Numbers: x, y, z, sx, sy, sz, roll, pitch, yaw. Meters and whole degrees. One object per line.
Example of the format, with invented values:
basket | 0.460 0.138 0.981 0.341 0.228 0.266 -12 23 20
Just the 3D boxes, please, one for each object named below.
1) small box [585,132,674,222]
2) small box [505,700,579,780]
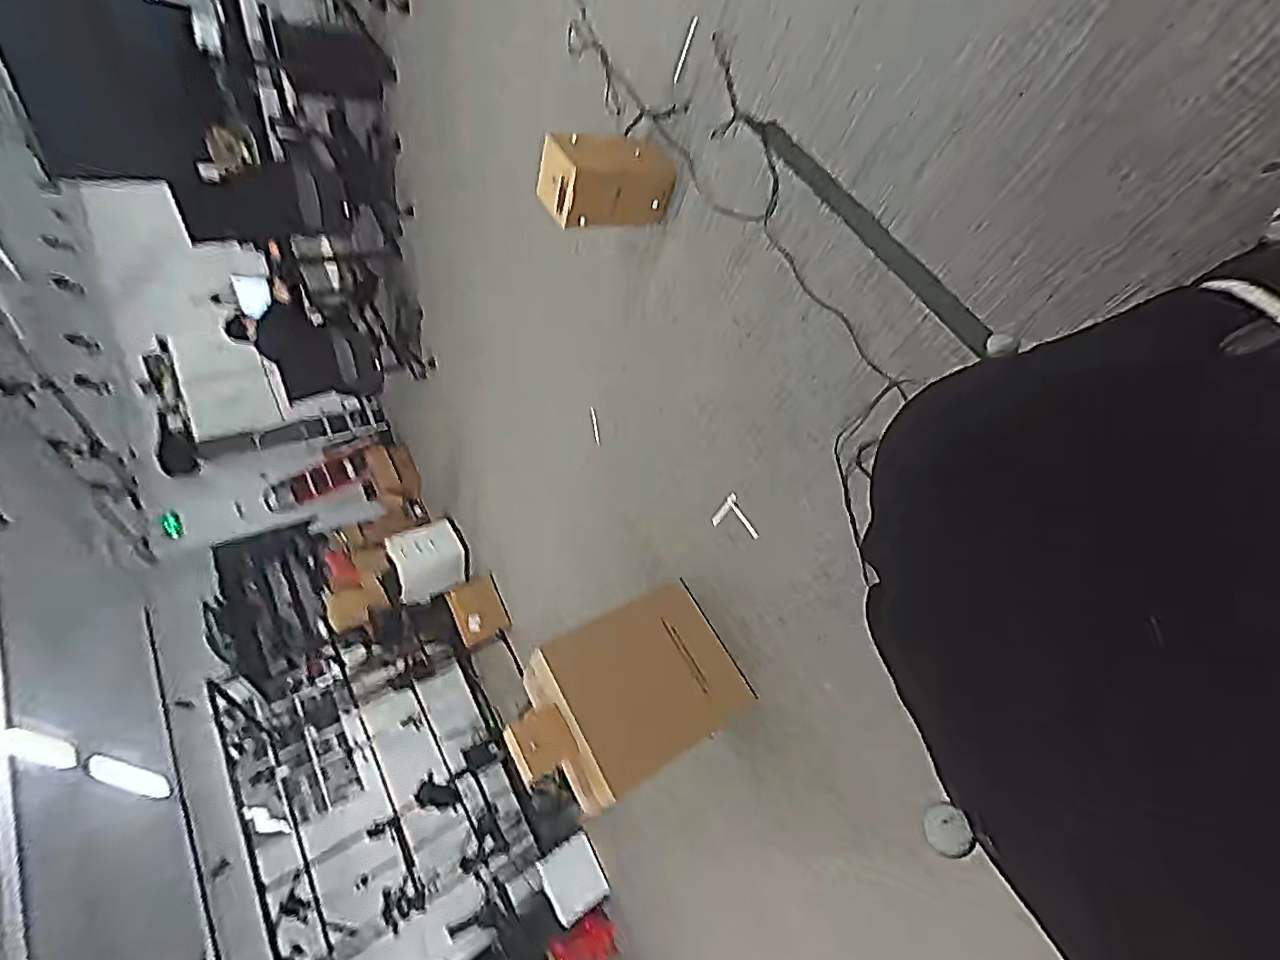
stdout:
small box | -0.032 -0.875 1.566 0.179 0.176 0.168 55 146 21
small box | -0.328 0.859 1.800 0.179 0.176 0.168 56 145 21
